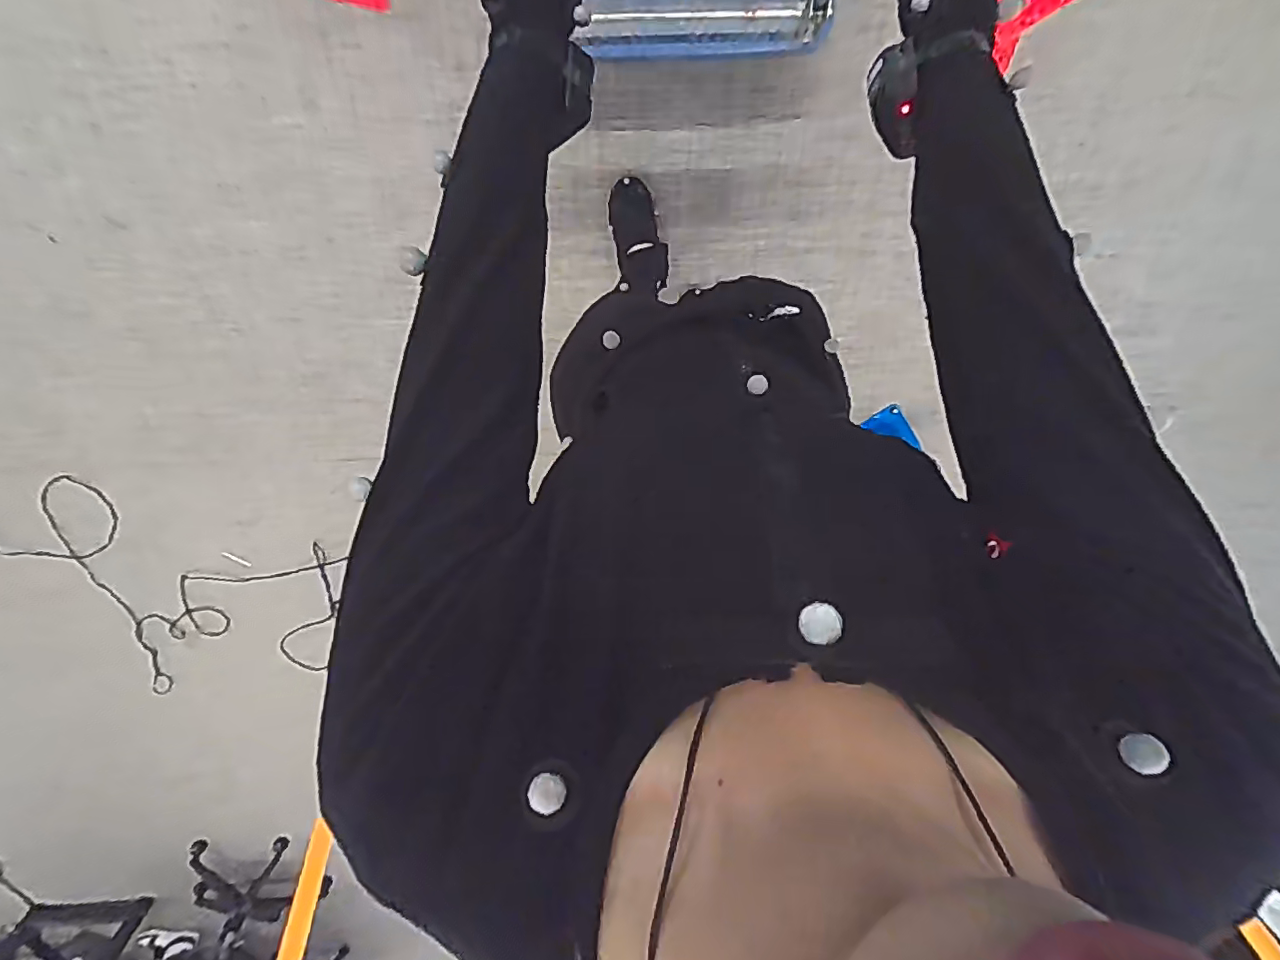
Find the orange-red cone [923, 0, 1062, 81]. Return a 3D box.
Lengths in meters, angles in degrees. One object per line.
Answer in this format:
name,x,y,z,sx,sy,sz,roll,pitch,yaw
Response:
orange-red cone,0.706,-0.868,0.958,0.198,0.360,0.199,9,119,-6
